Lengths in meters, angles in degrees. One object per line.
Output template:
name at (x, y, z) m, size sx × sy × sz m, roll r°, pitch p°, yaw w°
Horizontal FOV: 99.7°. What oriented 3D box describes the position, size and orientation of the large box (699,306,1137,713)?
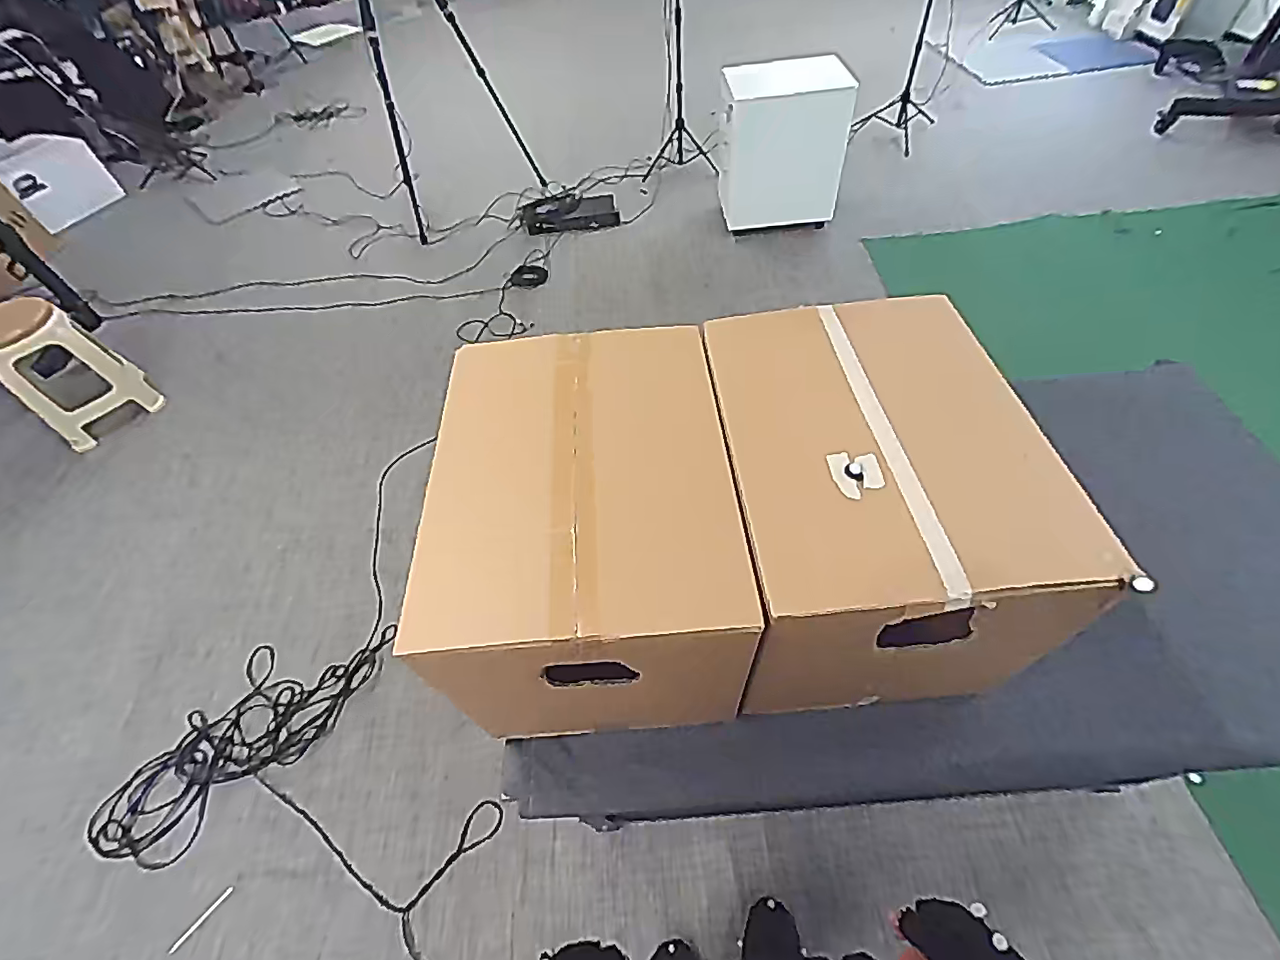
large box at (0.258, 0.038, 0.688) m, size 0.320 × 0.320 × 0.408 m, roll -7°, pitch 53°, yaw 2°
